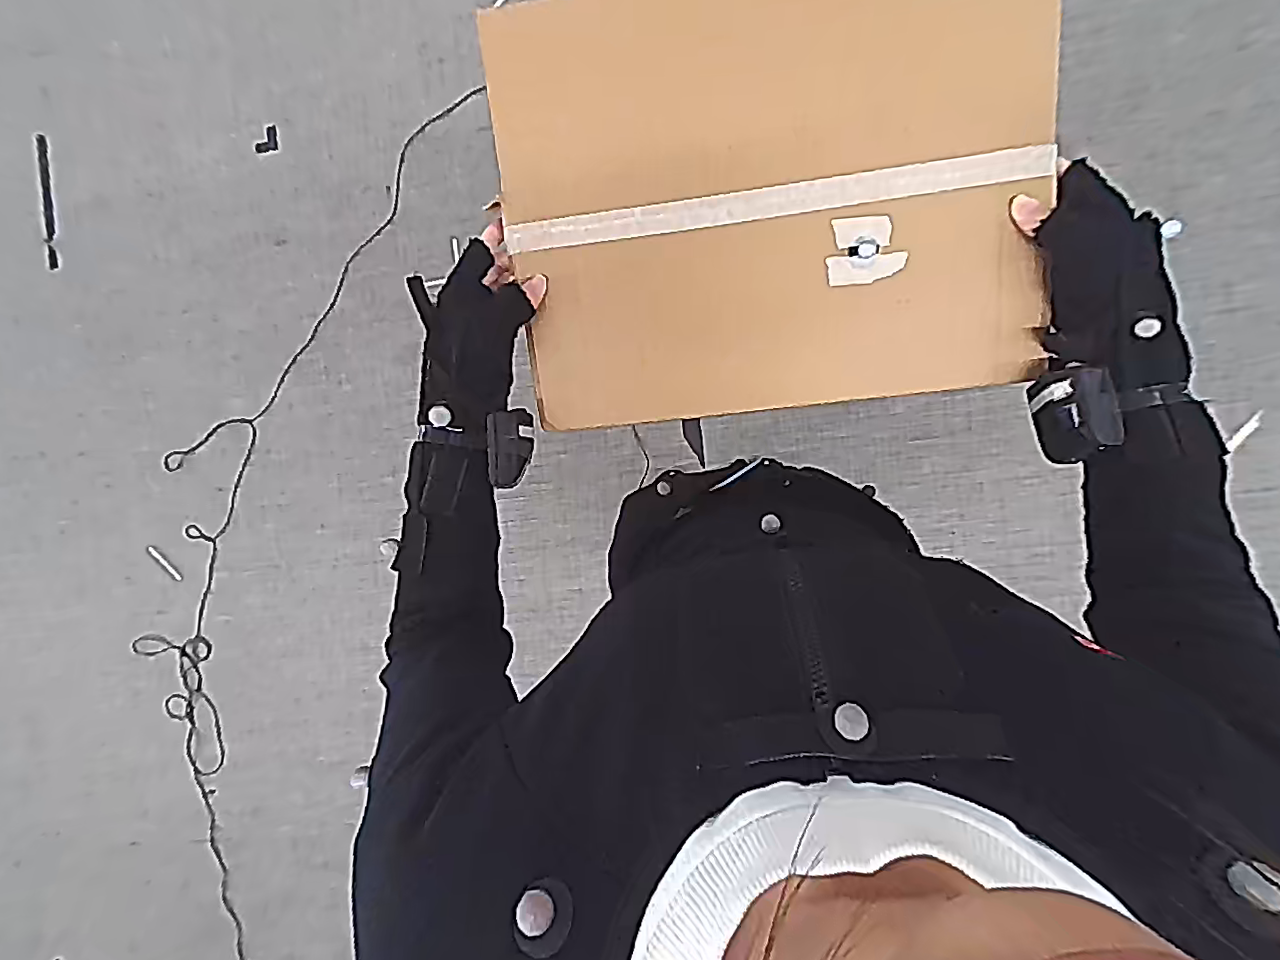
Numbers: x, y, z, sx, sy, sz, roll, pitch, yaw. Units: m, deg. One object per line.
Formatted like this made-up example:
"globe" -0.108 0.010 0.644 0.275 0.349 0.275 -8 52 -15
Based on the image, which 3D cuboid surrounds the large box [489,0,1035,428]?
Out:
"large box" 0.106 -0.248 0.570 0.408 0.320 0.320 -6 103 5
